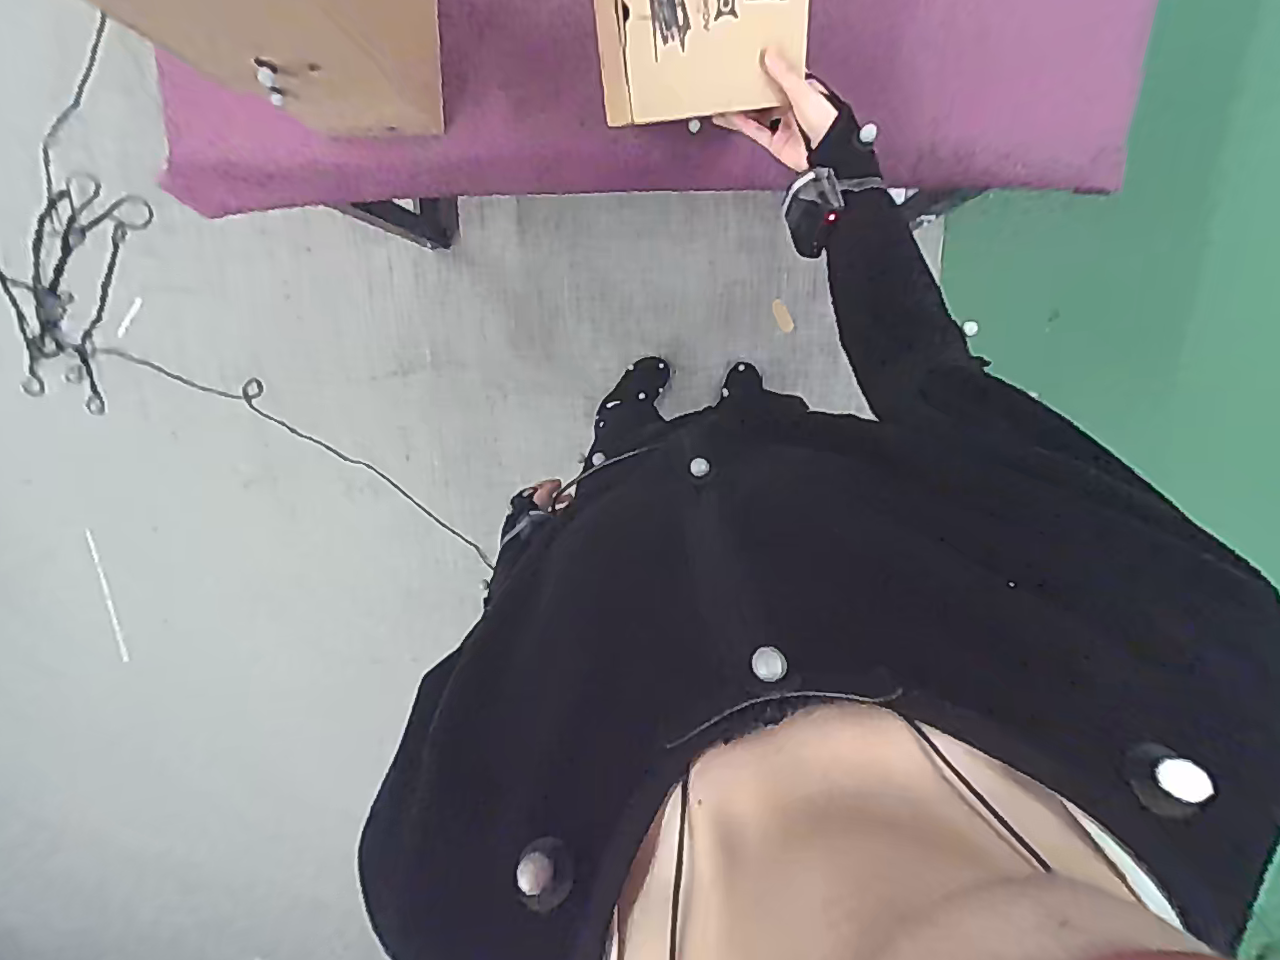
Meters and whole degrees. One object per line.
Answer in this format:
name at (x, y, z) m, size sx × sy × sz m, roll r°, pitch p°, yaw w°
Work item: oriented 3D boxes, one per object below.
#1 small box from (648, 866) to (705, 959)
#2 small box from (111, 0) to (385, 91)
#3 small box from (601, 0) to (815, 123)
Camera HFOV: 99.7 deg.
small box at (0.117, 1.391, 1.743) m, size 0.168 × 0.176 × 0.179 m, roll 4°, pitch 104°, yaw 4°
small box at (-0.338, -0.461, 0.440) m, size 0.168 × 0.176 × 0.179 m, roll -3°, pitch 102°, yaw 6°
small box at (0.057, -0.461, 0.537) m, size 0.179 × 0.176 × 0.168 m, roll -12°, pitch 126°, yaw -6°
